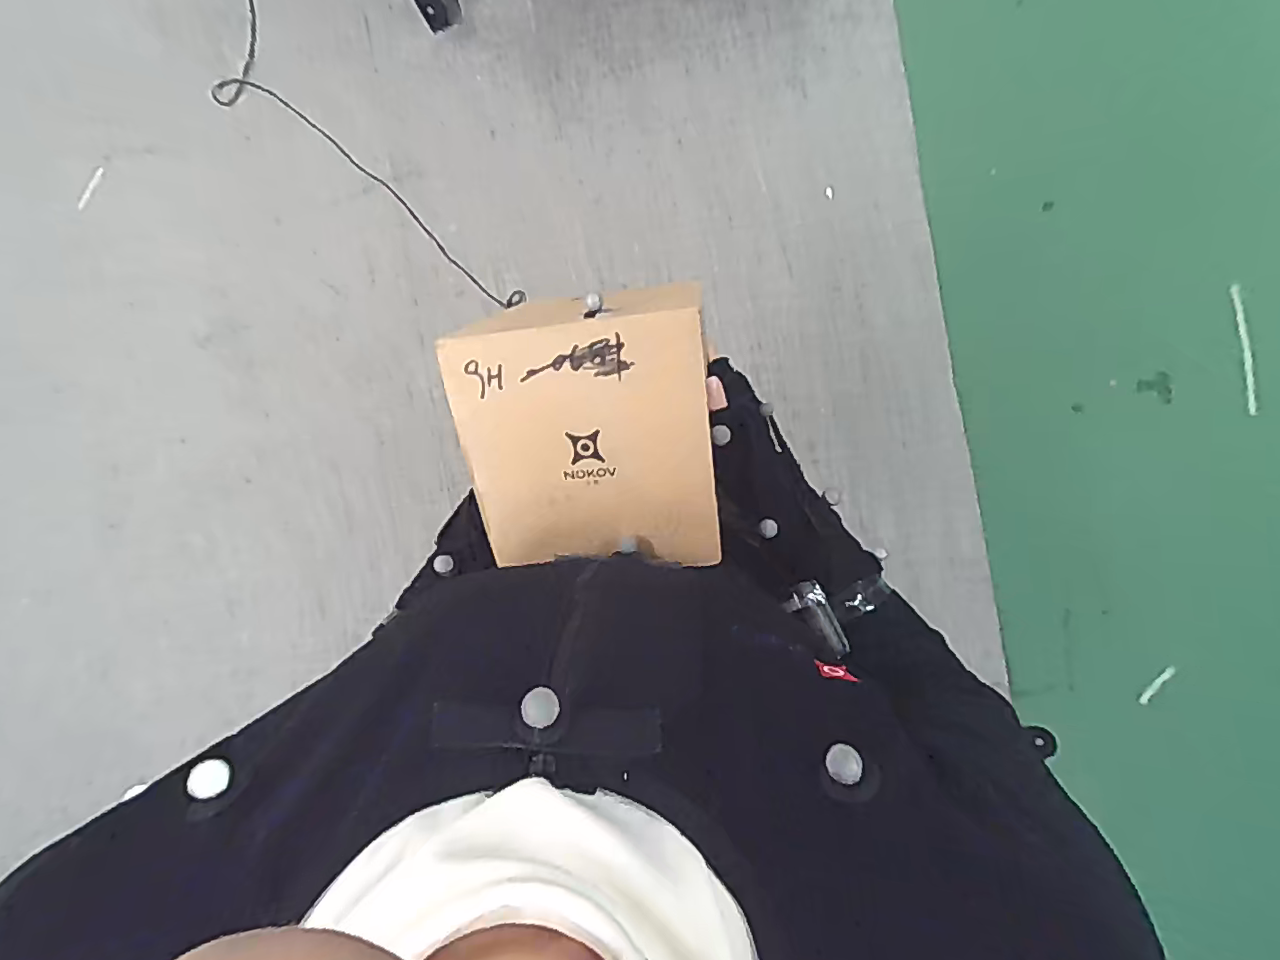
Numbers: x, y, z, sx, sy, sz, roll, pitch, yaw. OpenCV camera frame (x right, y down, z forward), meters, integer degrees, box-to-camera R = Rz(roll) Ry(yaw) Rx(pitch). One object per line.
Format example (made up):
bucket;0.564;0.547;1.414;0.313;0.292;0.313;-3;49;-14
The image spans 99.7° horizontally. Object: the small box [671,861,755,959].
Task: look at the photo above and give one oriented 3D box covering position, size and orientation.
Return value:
small box;0.178;1.079;1.324;0.179;0.176;0.168;-11;92;4
